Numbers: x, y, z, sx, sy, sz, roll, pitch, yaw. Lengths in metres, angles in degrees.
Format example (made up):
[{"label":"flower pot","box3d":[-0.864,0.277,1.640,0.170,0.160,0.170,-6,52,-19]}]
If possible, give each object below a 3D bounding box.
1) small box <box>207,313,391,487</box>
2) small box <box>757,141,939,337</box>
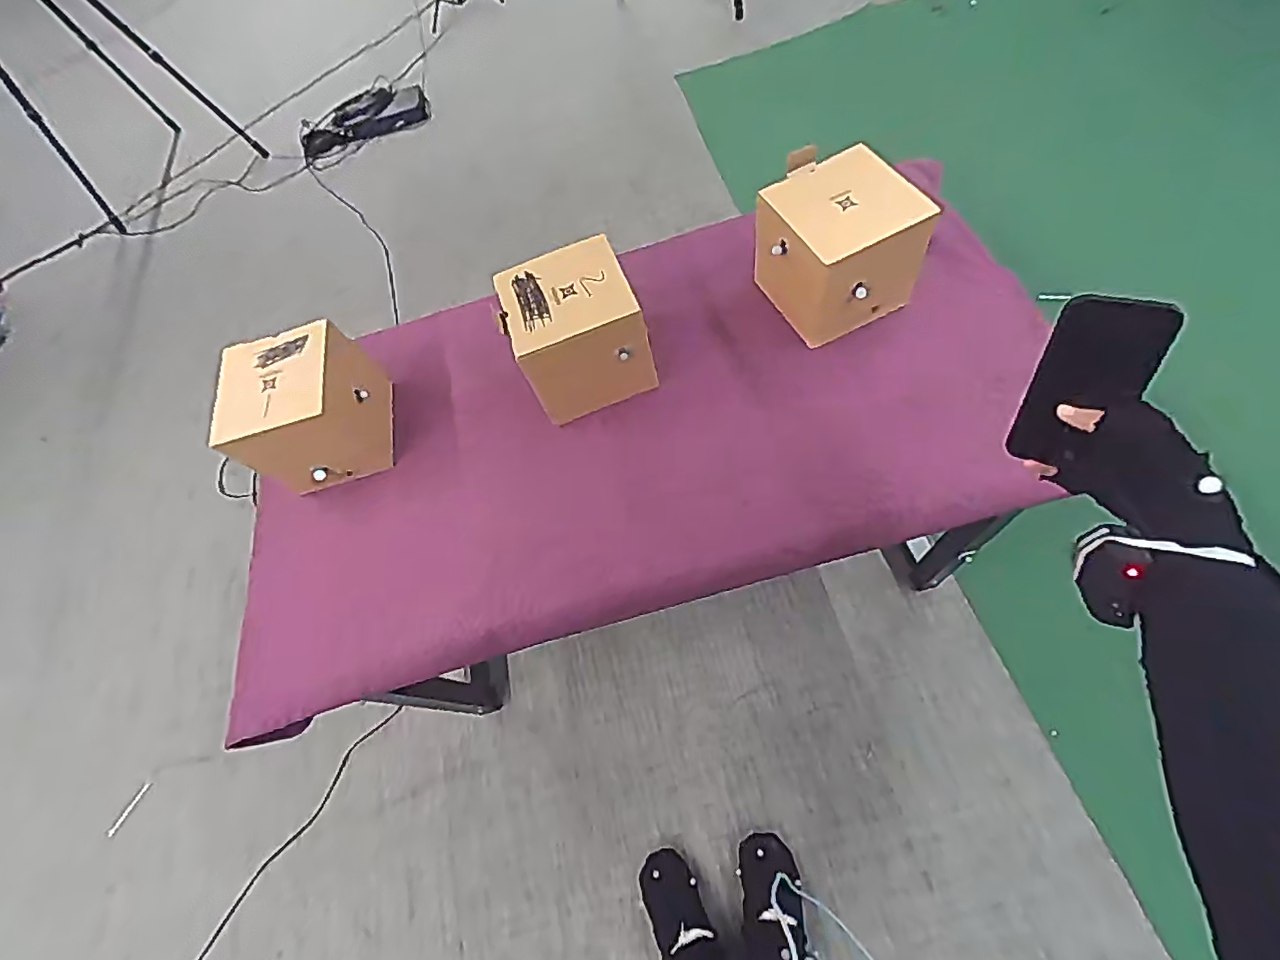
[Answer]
[{"label":"small box","box3d":[-0.499,-0.115,0.820,0.168,0.176,0.179,-15,64,3]},{"label":"small box","box3d":[0.284,-0.334,0.780,0.168,0.176,0.179,-26,62,-2]}]
